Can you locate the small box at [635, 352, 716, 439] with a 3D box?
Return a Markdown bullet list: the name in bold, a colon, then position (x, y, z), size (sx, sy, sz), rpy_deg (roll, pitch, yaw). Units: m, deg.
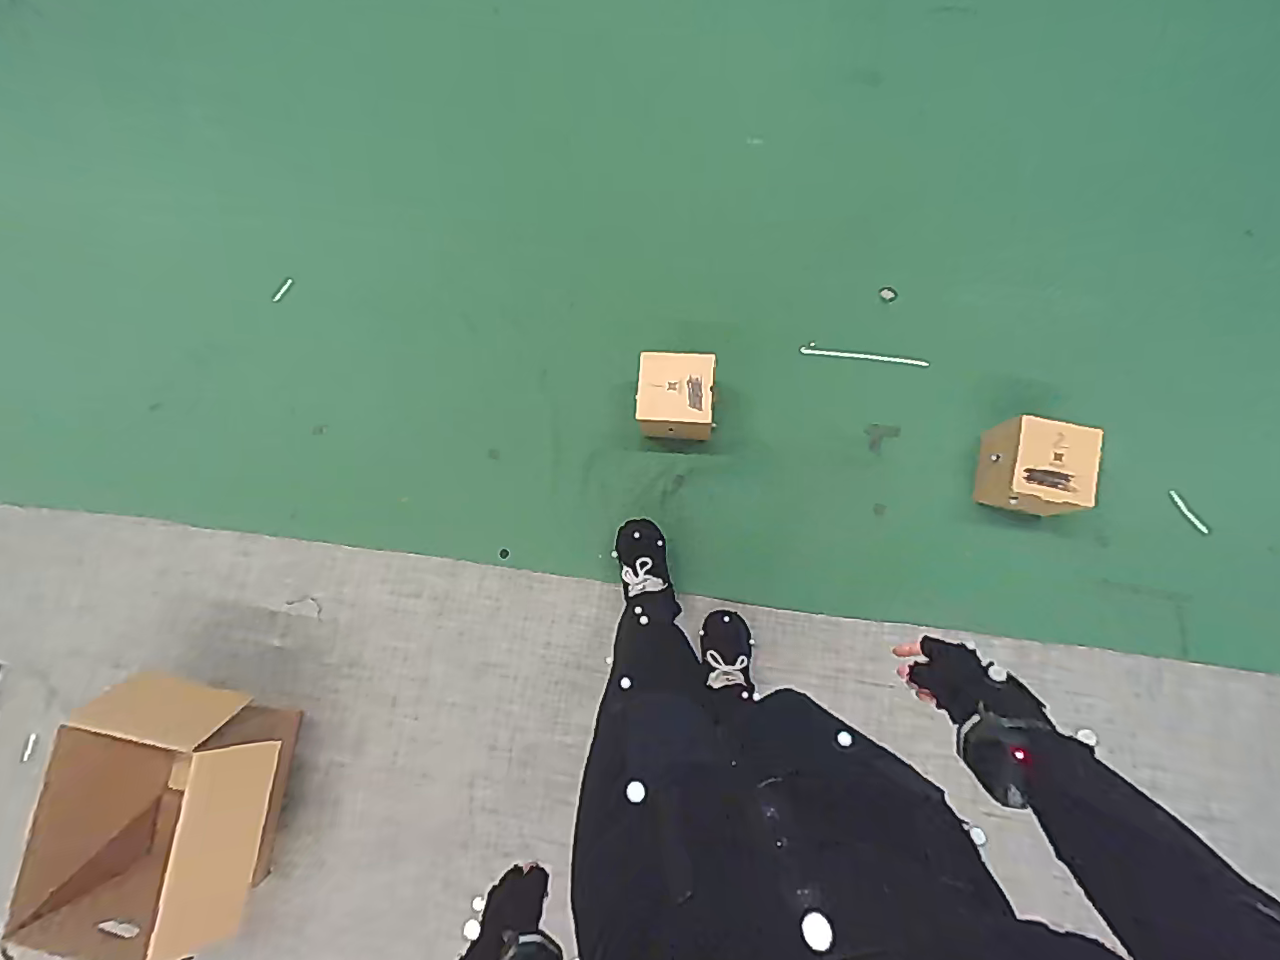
- **small box**: position (0.089, -0.198, 1.314), size (0.179, 0.176, 0.168), rpy_deg (4, 81, 7)
